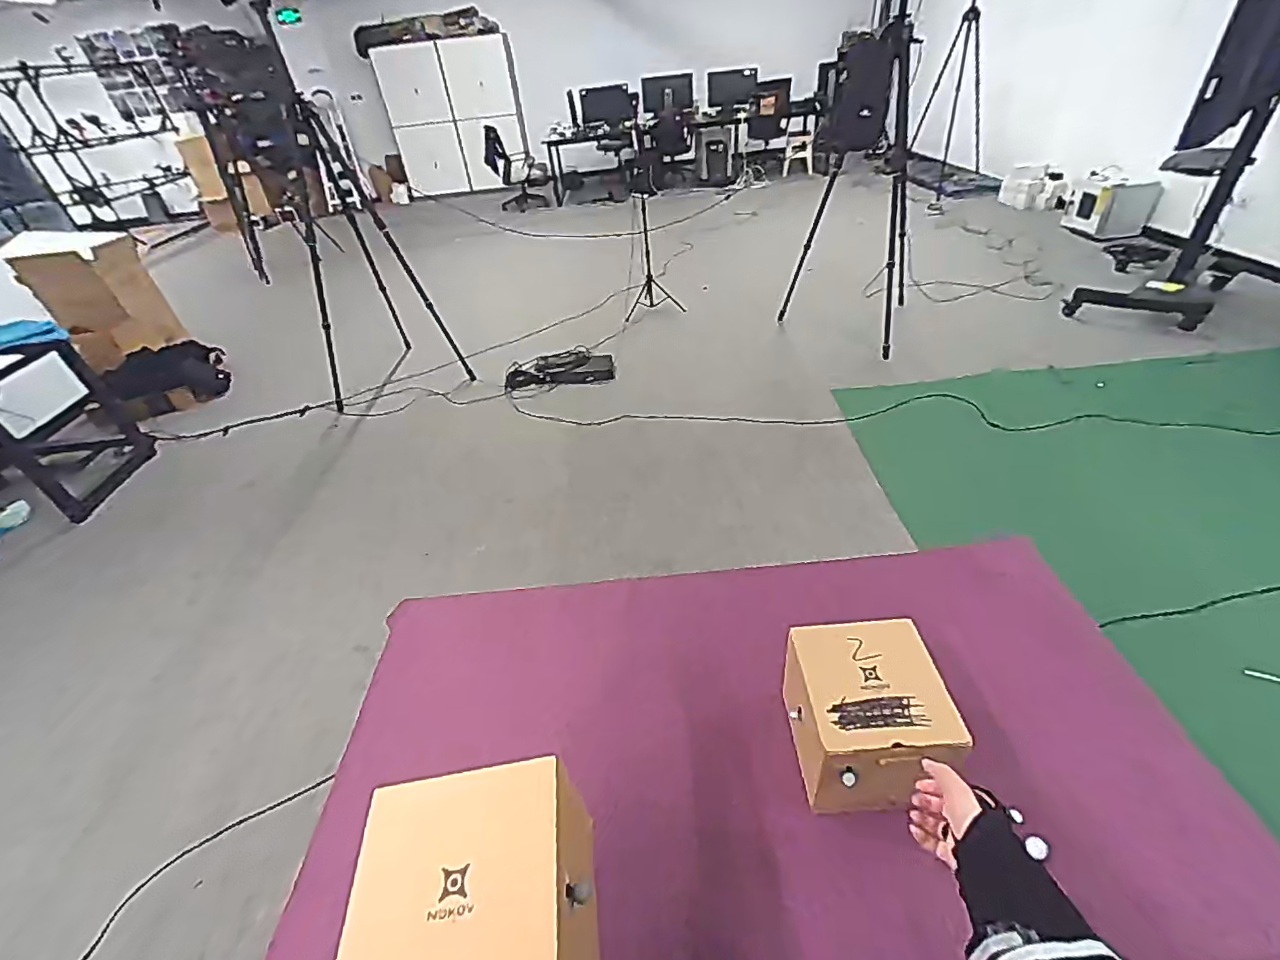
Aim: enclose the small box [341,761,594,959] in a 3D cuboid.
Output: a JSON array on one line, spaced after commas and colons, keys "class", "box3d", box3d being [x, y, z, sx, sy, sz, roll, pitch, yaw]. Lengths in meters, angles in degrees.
[{"class": "small box", "box3d": [-0.136, 0.385, 0.482, 0.168, 0.176, 0.179, -10, 42, -1]}]
